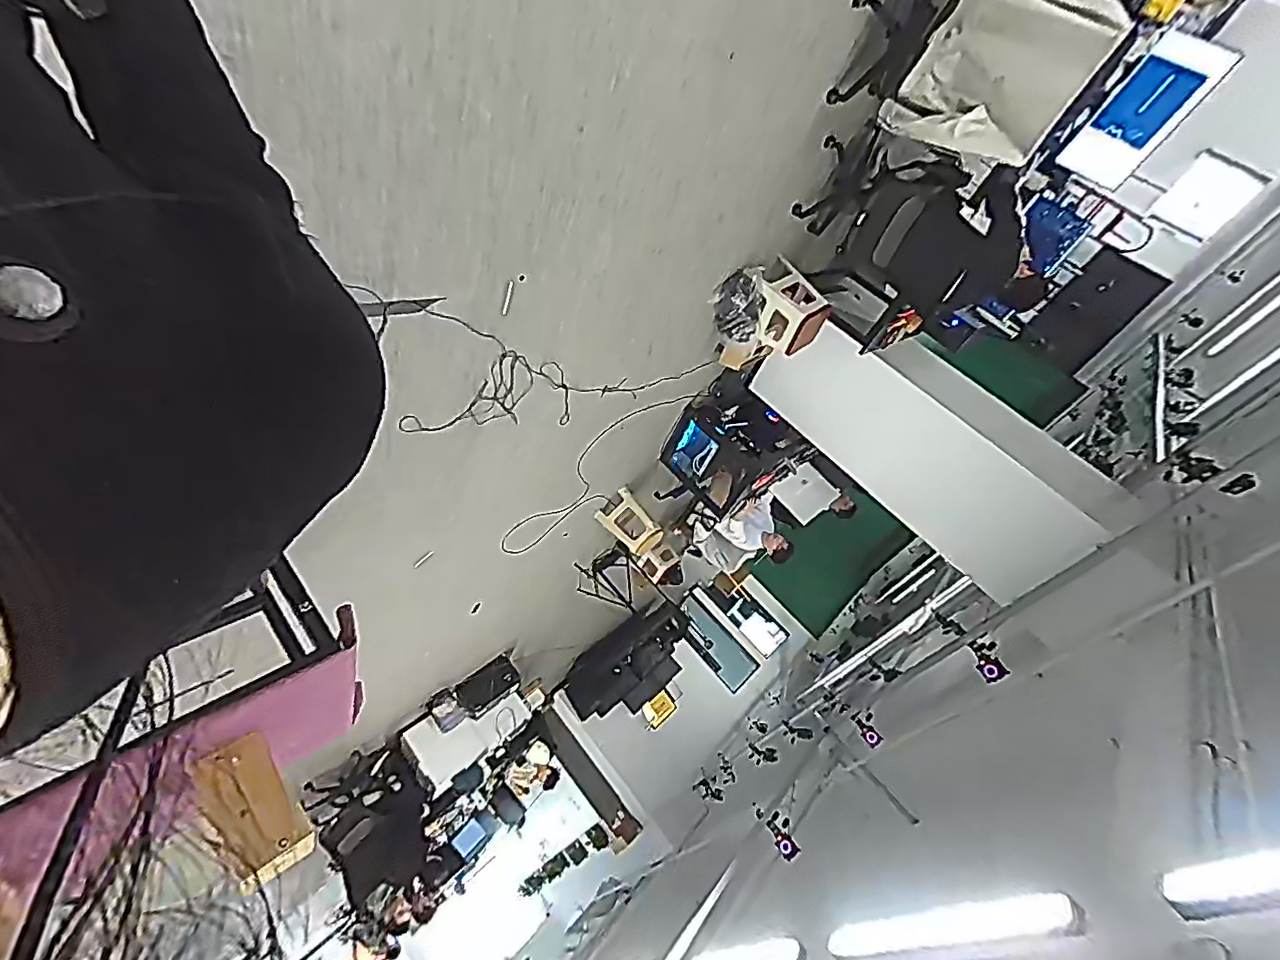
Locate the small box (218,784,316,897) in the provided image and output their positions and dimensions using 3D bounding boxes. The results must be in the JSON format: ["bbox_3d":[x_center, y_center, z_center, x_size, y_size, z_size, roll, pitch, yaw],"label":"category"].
[{"bbox_3d":[-0.985,0.947,1.430,0.168,0.176,0.179,-24,153,-46],"label":"small box"}]

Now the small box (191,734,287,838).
[{"bbox_3d":[-1.094,0.836,1.482,0.168,0.176,0.179,-24,152,-45],"label":"small box"}]

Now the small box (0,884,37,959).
[{"bbox_3d":[-1.436,1.010,1.150,0.168,0.176,0.179,-23,152,-49],"label":"small box"}]
